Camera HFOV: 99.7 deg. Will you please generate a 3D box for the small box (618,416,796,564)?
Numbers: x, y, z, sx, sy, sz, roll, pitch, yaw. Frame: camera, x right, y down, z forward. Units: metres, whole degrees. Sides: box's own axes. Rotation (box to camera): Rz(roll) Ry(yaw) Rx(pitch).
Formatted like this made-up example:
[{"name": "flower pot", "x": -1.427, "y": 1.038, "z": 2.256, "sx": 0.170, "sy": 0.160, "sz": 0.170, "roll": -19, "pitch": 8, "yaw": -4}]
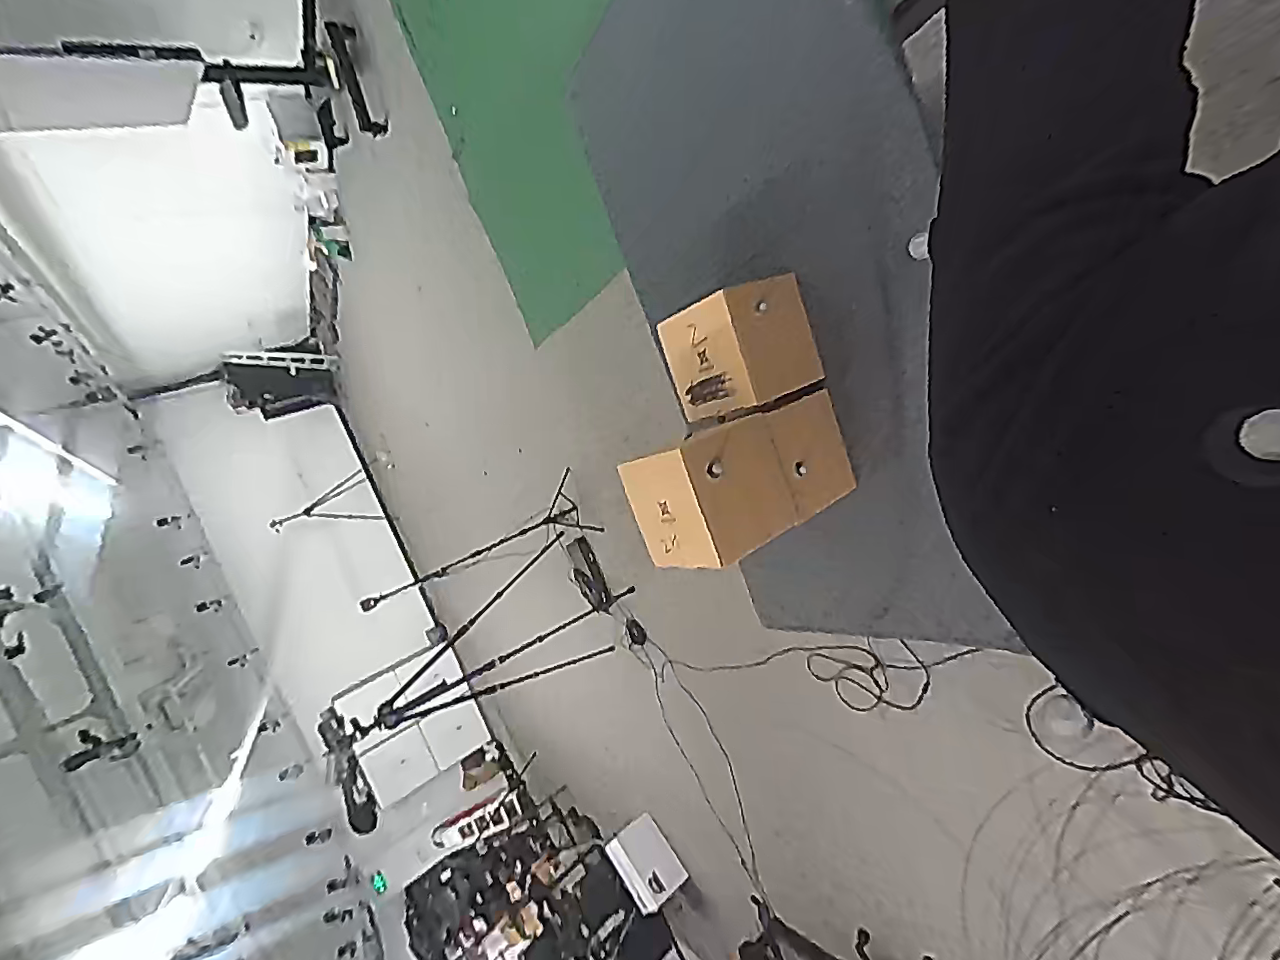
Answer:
[{"name": "small box", "x": 0.101, "y": 0.013, "z": 0.813, "sx": 0.168, "sy": 0.176, "sz": 0.179, "roll": -13, "pitch": 100, "yaw": 56}]
